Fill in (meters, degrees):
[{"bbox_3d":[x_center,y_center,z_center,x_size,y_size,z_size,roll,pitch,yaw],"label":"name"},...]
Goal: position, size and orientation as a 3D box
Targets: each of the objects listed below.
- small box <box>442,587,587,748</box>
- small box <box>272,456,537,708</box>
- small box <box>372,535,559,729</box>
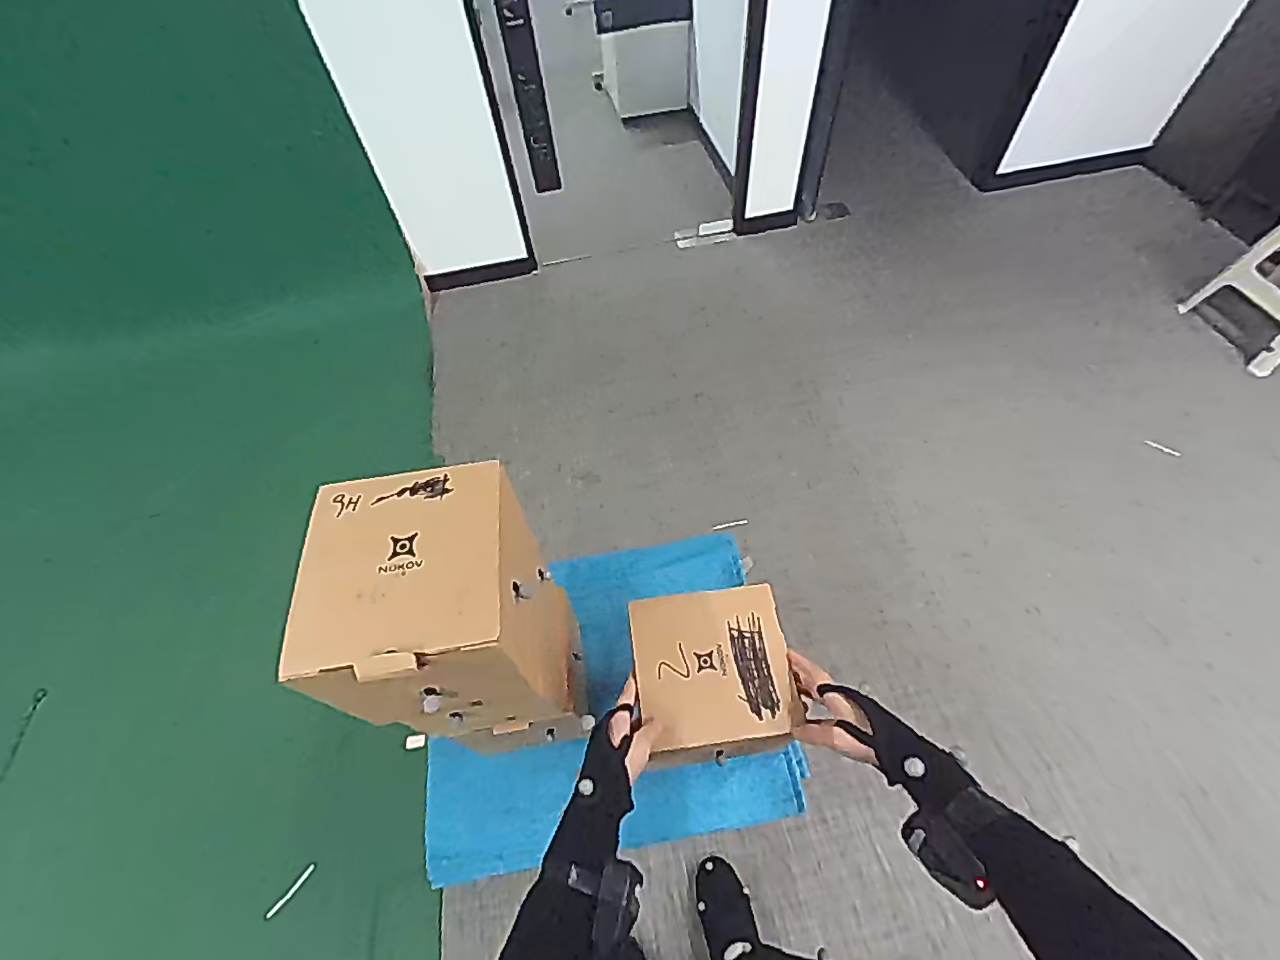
[{"bbox_3d":[-0.172,0.277,0.782,0.168,0.176,0.179,-8,55,-3],"label":"small box"},{"bbox_3d":[-0.194,0.104,0.507,0.168,0.176,0.179,-7,55,-2],"label":"small box"},{"bbox_3d":[-0.192,0.188,0.648,0.168,0.176,0.179,-7,55,-2],"label":"small box"}]
